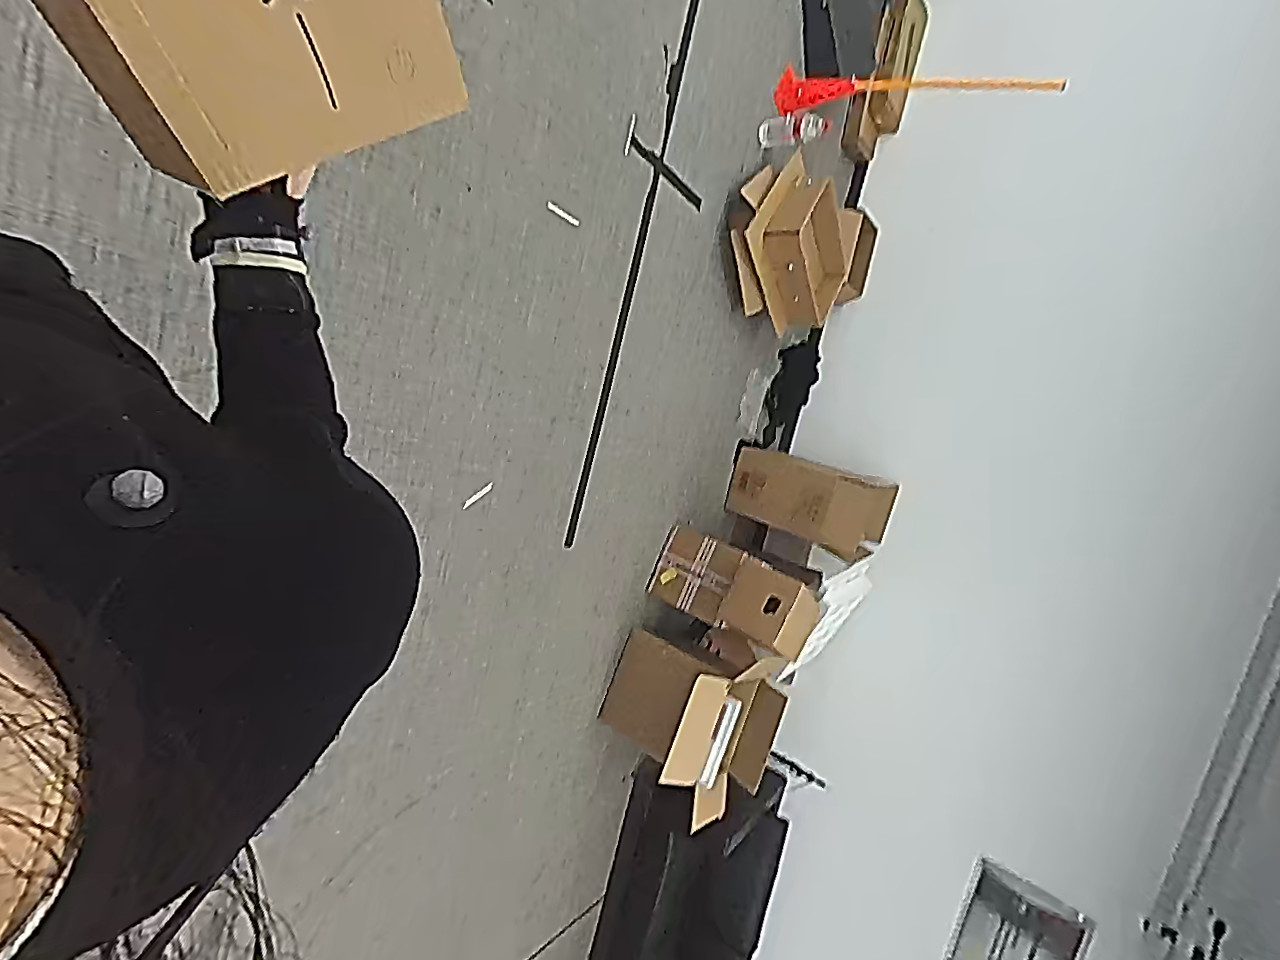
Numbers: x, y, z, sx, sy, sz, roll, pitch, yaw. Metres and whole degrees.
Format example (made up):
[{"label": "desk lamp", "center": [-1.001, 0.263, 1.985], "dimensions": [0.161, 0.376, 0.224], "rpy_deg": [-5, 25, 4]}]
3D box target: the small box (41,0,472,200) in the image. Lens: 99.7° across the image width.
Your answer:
[{"label": "small box", "center": [-0.237, -0.289, 0.312], "dimensions": [0.168, 0.176, 0.179], "rpy_deg": [-41, 142, -25]}]
